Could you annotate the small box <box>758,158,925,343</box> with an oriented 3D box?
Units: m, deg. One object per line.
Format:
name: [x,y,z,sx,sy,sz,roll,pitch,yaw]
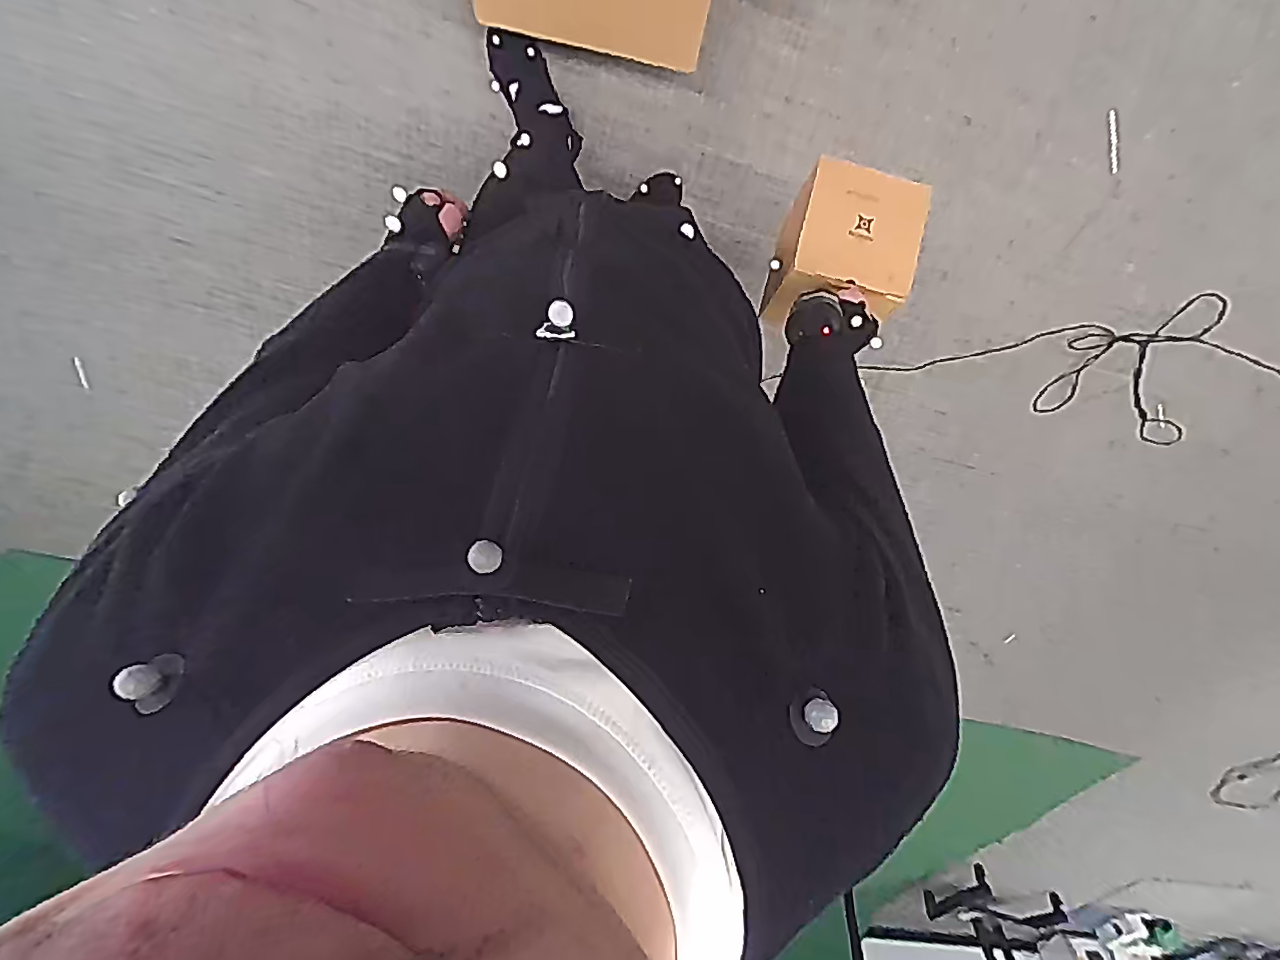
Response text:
small box: [0.290,-0.330,0.814,0.168,0.176,0.179,16,81,-3]
